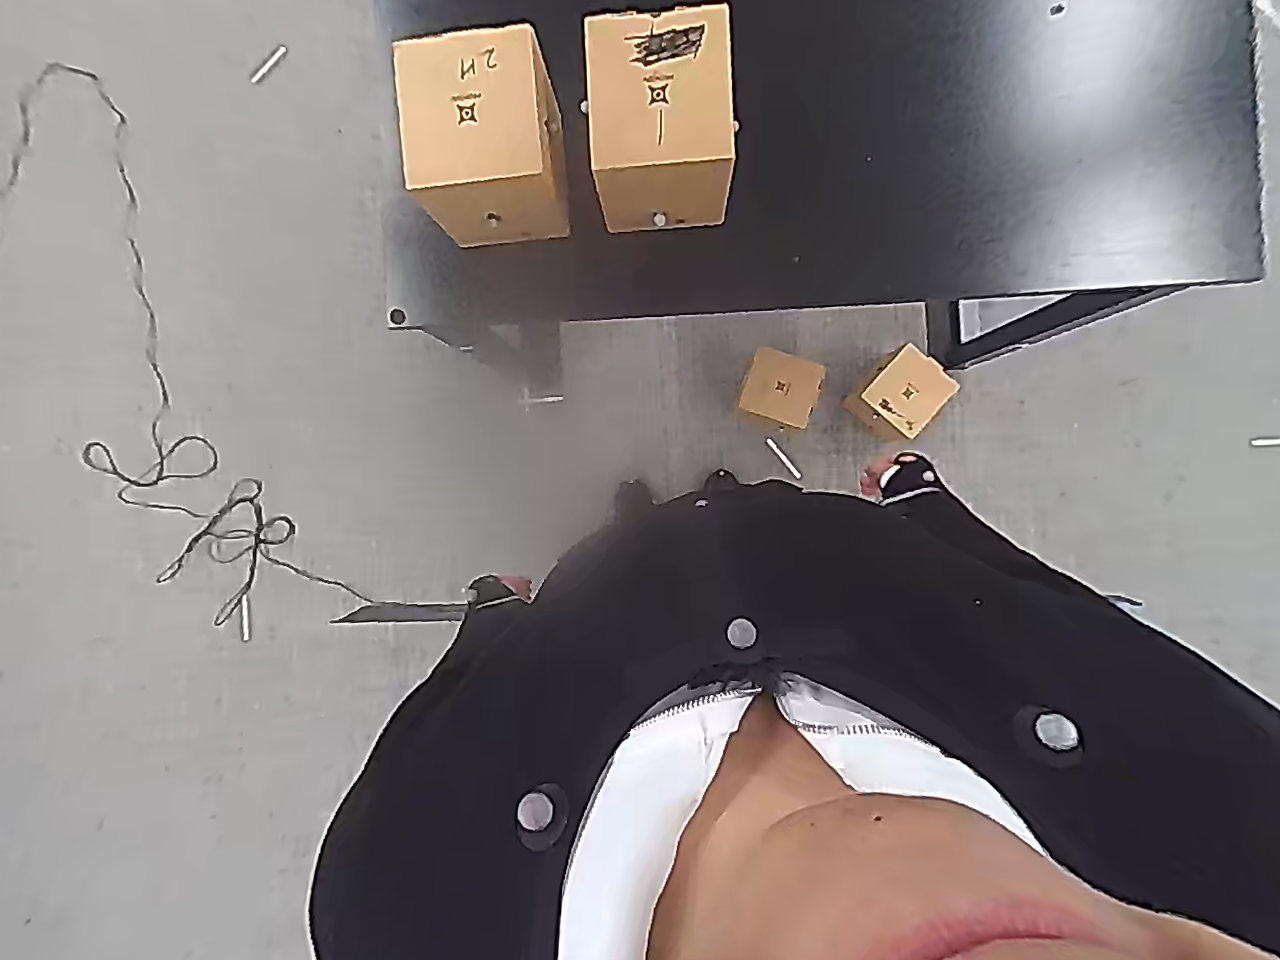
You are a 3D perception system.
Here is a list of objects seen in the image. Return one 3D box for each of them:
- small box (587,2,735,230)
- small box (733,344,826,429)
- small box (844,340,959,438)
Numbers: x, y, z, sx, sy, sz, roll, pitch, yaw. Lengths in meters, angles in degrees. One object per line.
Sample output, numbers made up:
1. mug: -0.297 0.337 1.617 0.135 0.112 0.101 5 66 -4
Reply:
1. small box: 0.027 -0.448 0.691 0.168 0.176 0.179 -3 91 4
2. small box: 0.353 -0.235 1.405 0.179 0.176 0.168 19 92 4
3. small box: 0.656 -0.224 1.382 0.168 0.176 0.179 41 94 3
